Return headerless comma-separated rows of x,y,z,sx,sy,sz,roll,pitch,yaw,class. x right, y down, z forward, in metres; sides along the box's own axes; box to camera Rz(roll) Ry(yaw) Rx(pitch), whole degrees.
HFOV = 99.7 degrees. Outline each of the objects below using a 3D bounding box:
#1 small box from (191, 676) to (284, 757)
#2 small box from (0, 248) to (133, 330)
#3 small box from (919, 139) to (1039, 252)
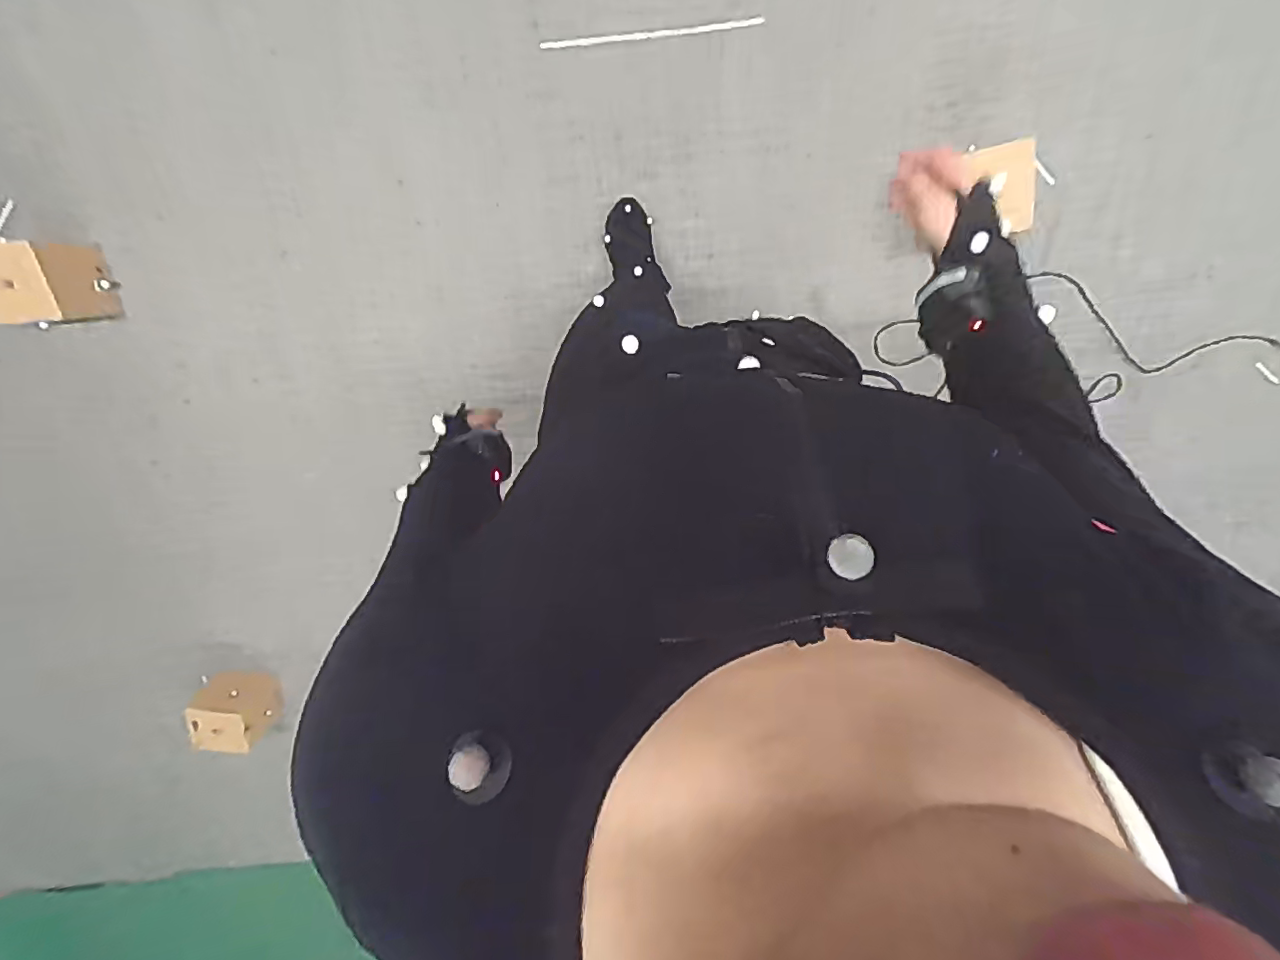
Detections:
-1.268,0.749,1.721,0.179,0.176,0.168,7,111,-3,small box
-1.369,-0.447,1.268,0.179,0.176,0.168,-5,112,1,small box
0.732,-0.612,1.185,0.168,0.176,0.179,-13,111,5,small box
